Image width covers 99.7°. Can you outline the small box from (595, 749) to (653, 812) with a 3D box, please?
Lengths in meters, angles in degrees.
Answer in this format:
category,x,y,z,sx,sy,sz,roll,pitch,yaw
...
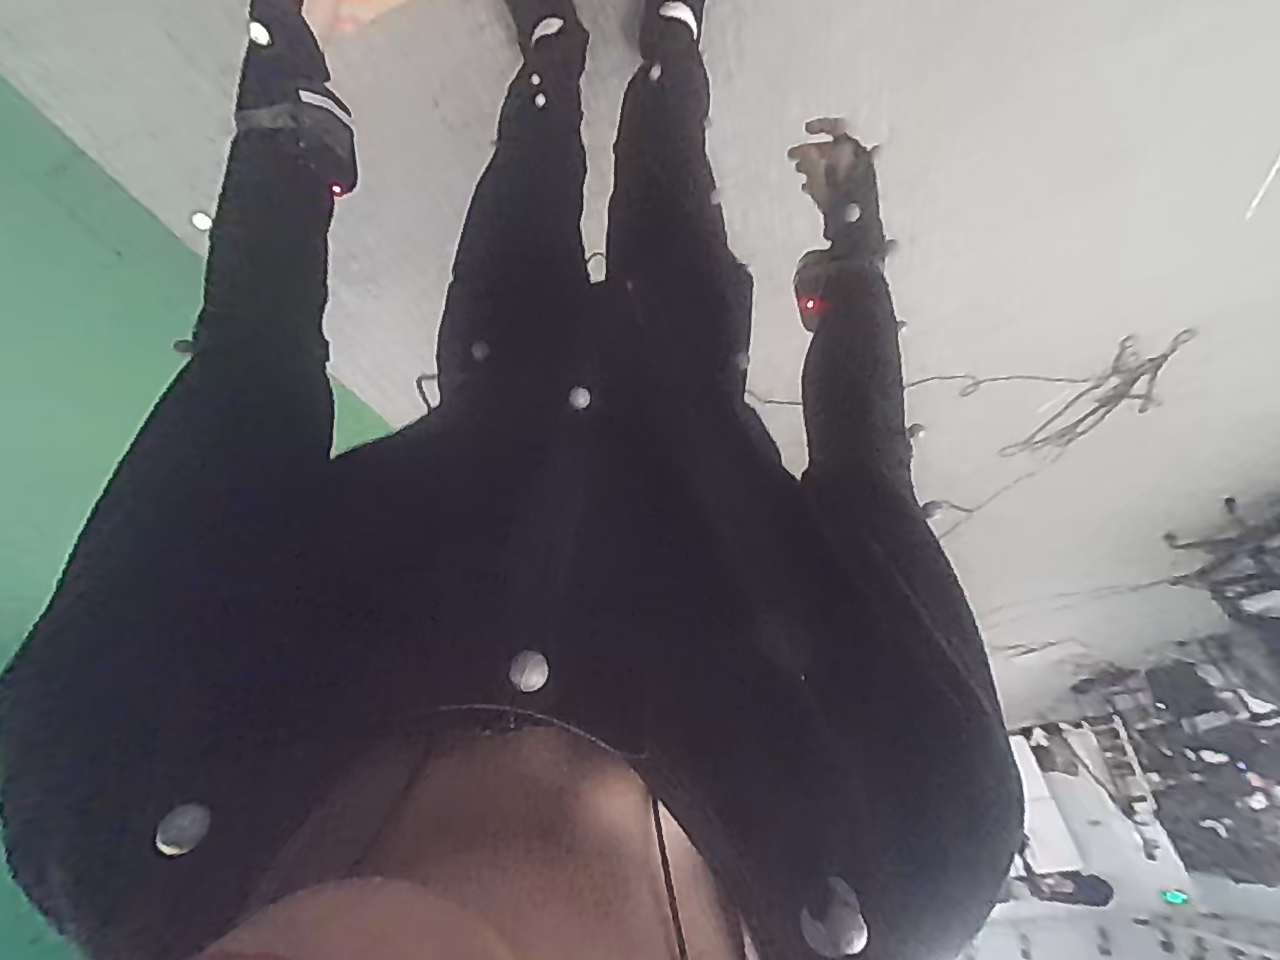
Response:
category,x,y,z,sx,sy,sz,roll,pitch,yaw
small box,-0.058,1.080,1.945,0.168,0.176,0.179,-13,144,7

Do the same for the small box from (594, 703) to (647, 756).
category,x,y,z,sx,sy,sz,roll,pitch,yaw
small box,-0.075,0.958,2.056,0.168,0.176,0.179,-12,144,4
